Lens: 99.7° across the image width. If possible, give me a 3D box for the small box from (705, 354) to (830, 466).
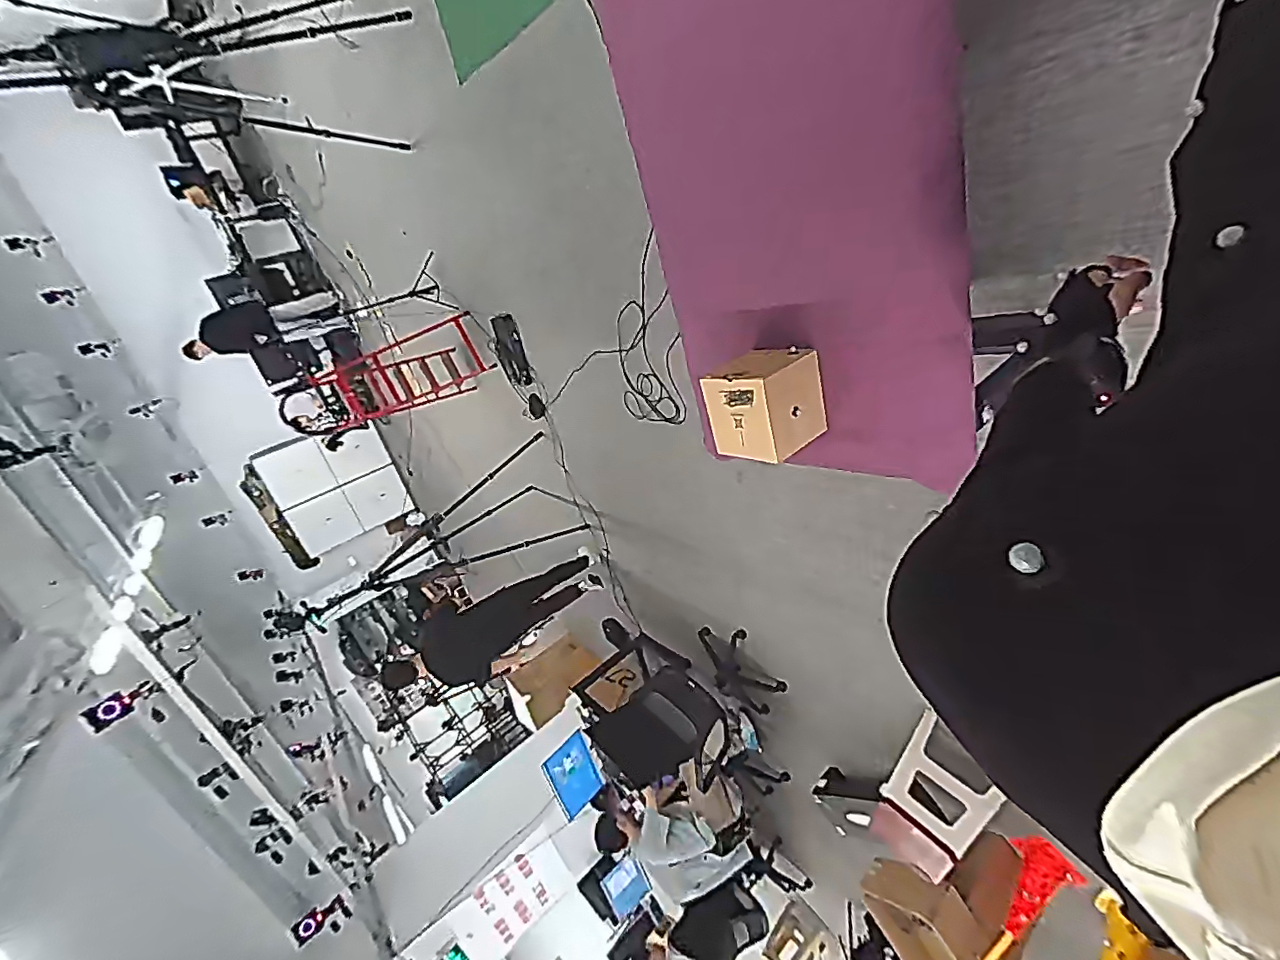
[{"bbox_3d":[0.264,-0.151,1.103,0.168,0.176,0.179,15,130,51],"label":"small box"}]
